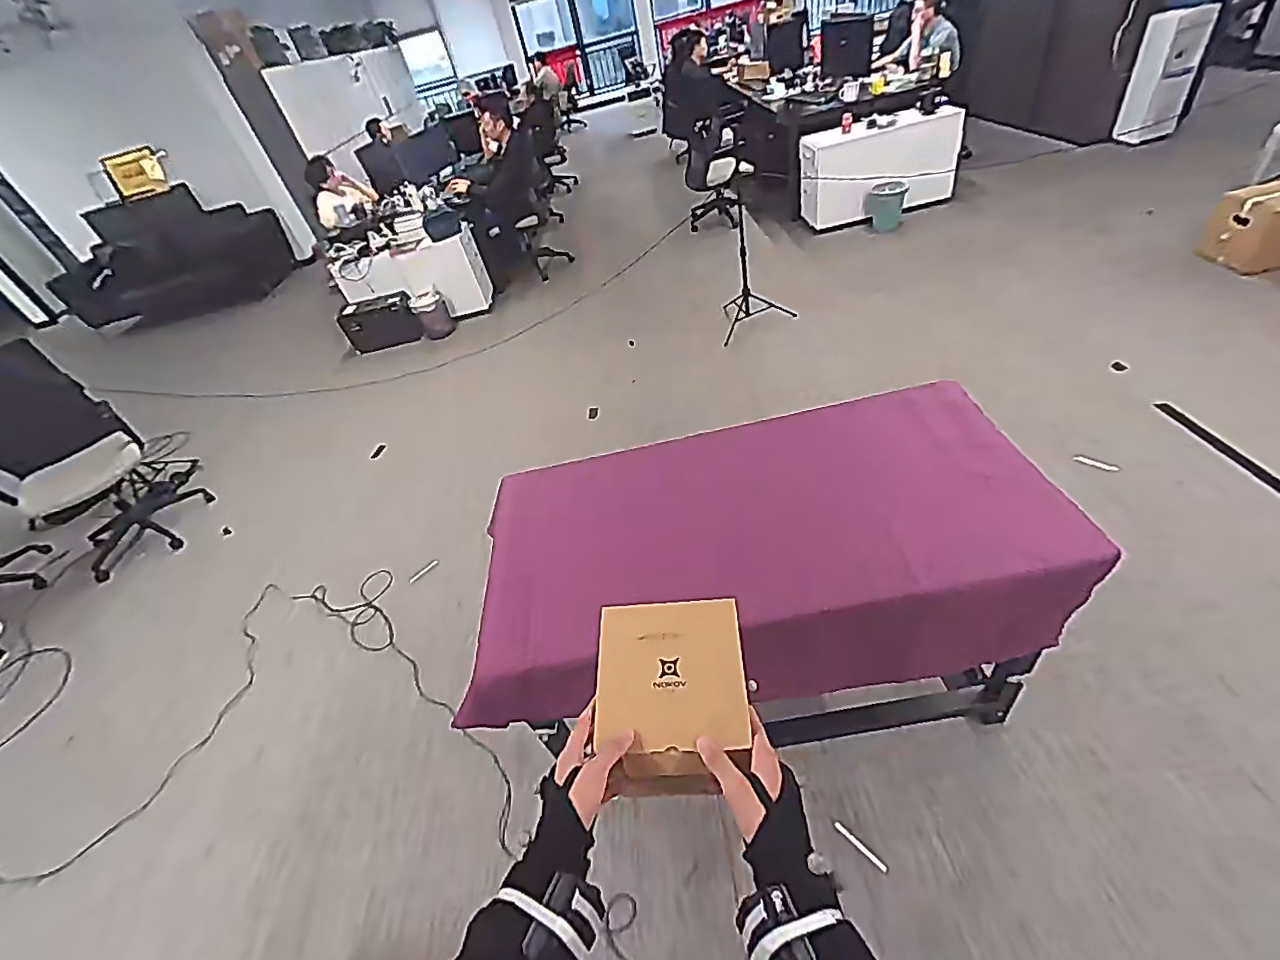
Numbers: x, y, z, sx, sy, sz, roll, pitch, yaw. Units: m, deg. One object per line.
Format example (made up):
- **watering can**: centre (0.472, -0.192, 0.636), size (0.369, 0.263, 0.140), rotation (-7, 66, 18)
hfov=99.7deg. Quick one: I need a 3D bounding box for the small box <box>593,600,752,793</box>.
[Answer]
- **small box**: centre (0.046, 0.269, 0.659), size (0.168, 0.176, 0.179), rotation (-5, 46, 6)
